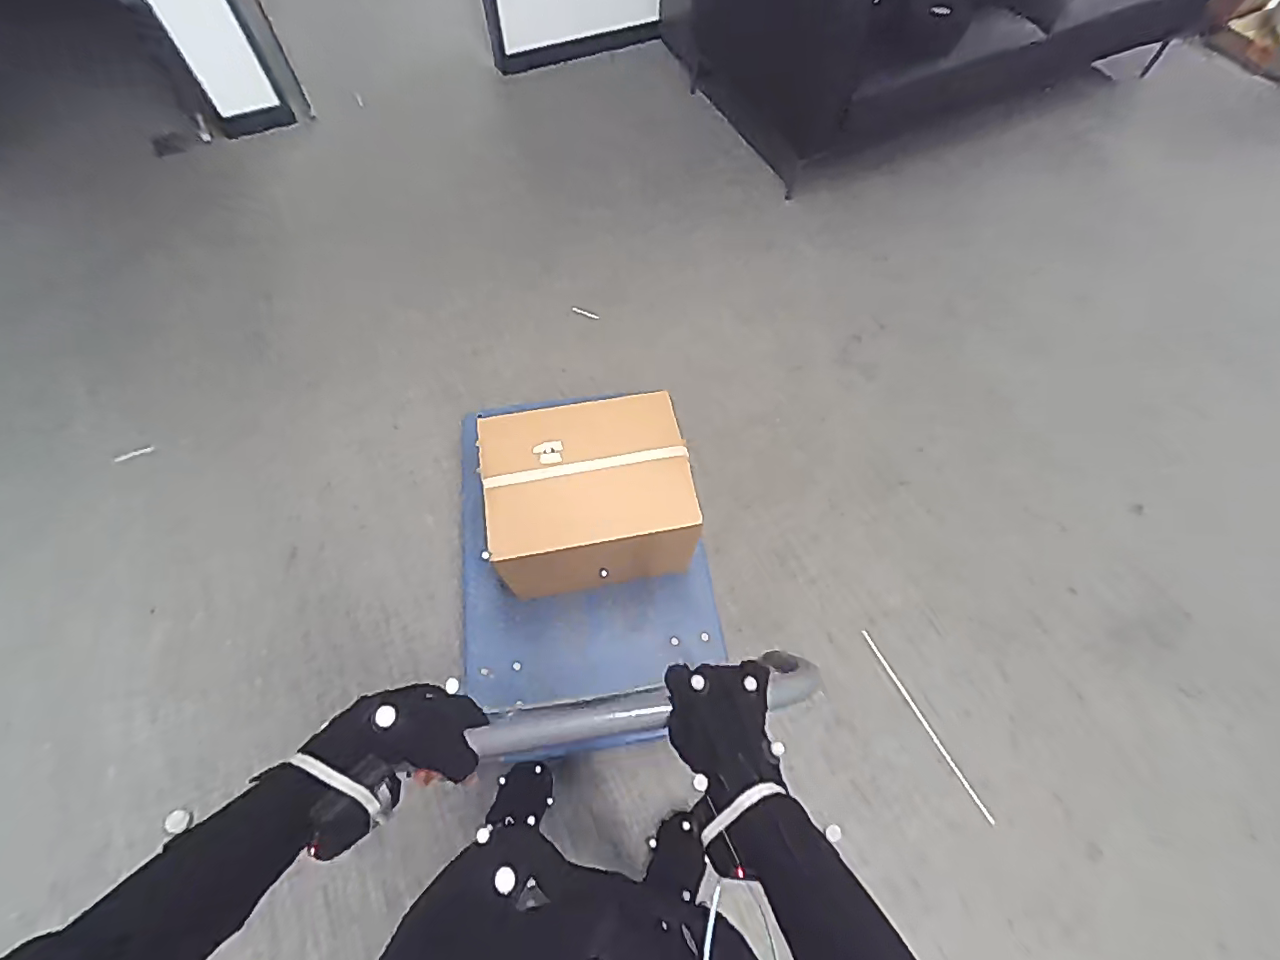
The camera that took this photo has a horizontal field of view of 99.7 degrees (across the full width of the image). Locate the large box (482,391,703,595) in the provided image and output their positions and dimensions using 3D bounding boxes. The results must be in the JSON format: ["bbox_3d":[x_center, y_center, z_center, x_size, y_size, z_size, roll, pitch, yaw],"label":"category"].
[{"bbox_3d":[-0.103,0.041,1.214,0.408,0.320,0.320,-10,65,-6],"label":"large box"}]
